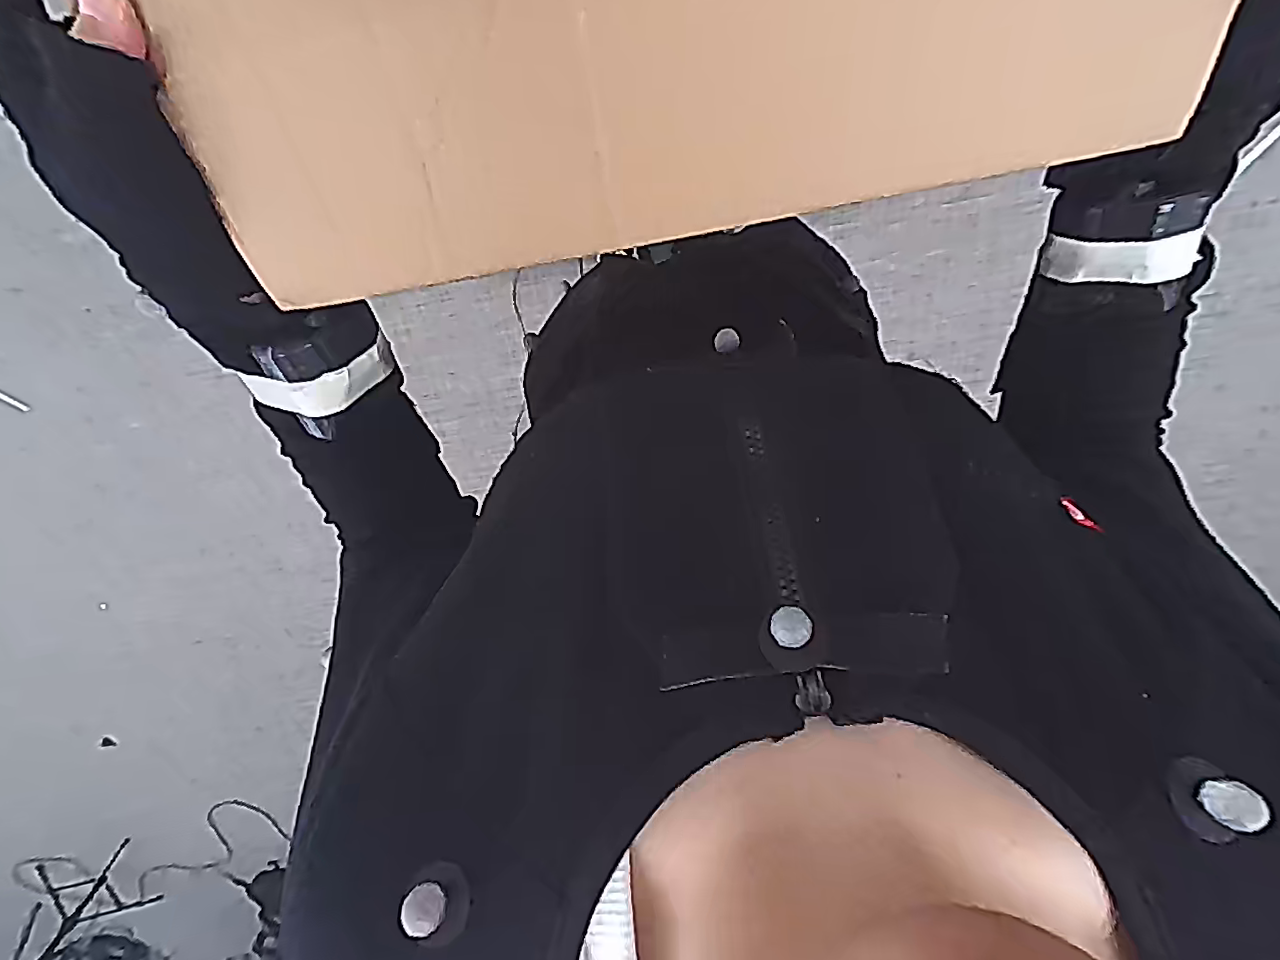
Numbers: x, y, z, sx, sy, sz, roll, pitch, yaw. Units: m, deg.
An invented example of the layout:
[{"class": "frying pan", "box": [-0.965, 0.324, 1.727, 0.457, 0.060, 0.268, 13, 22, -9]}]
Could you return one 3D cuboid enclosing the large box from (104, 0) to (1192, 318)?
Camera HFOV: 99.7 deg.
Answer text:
[{"class": "large box", "box": [-0.005, -0.324, 0.269, 0.408, 0.320, 0.320, -9, 130, 4]}]
